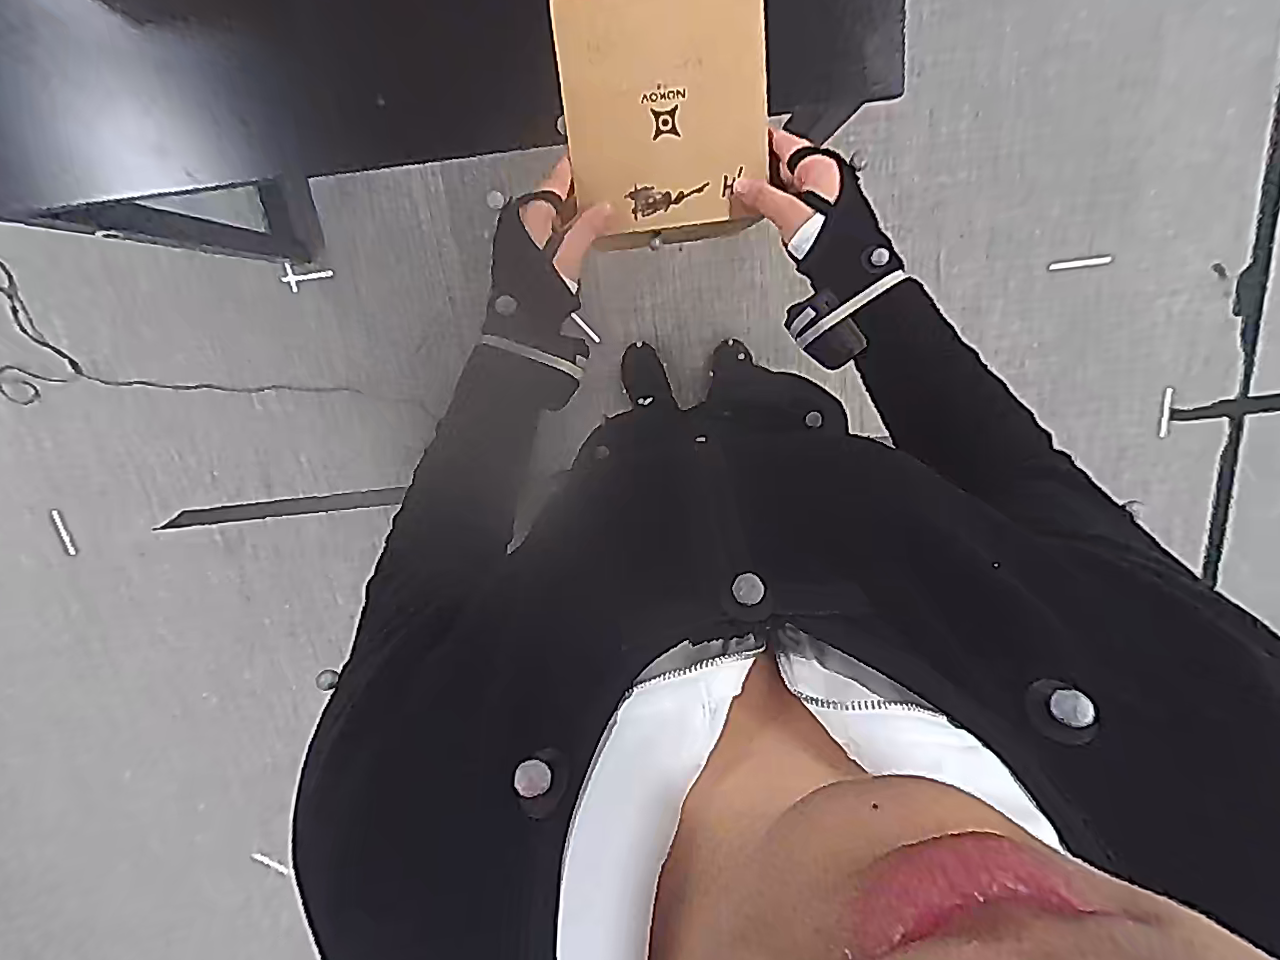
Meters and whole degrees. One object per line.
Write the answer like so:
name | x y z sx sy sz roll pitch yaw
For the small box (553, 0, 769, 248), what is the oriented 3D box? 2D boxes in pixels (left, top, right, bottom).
small box | 0.019 -0.329 0.513 0.168 0.176 0.179 -6 109 2
